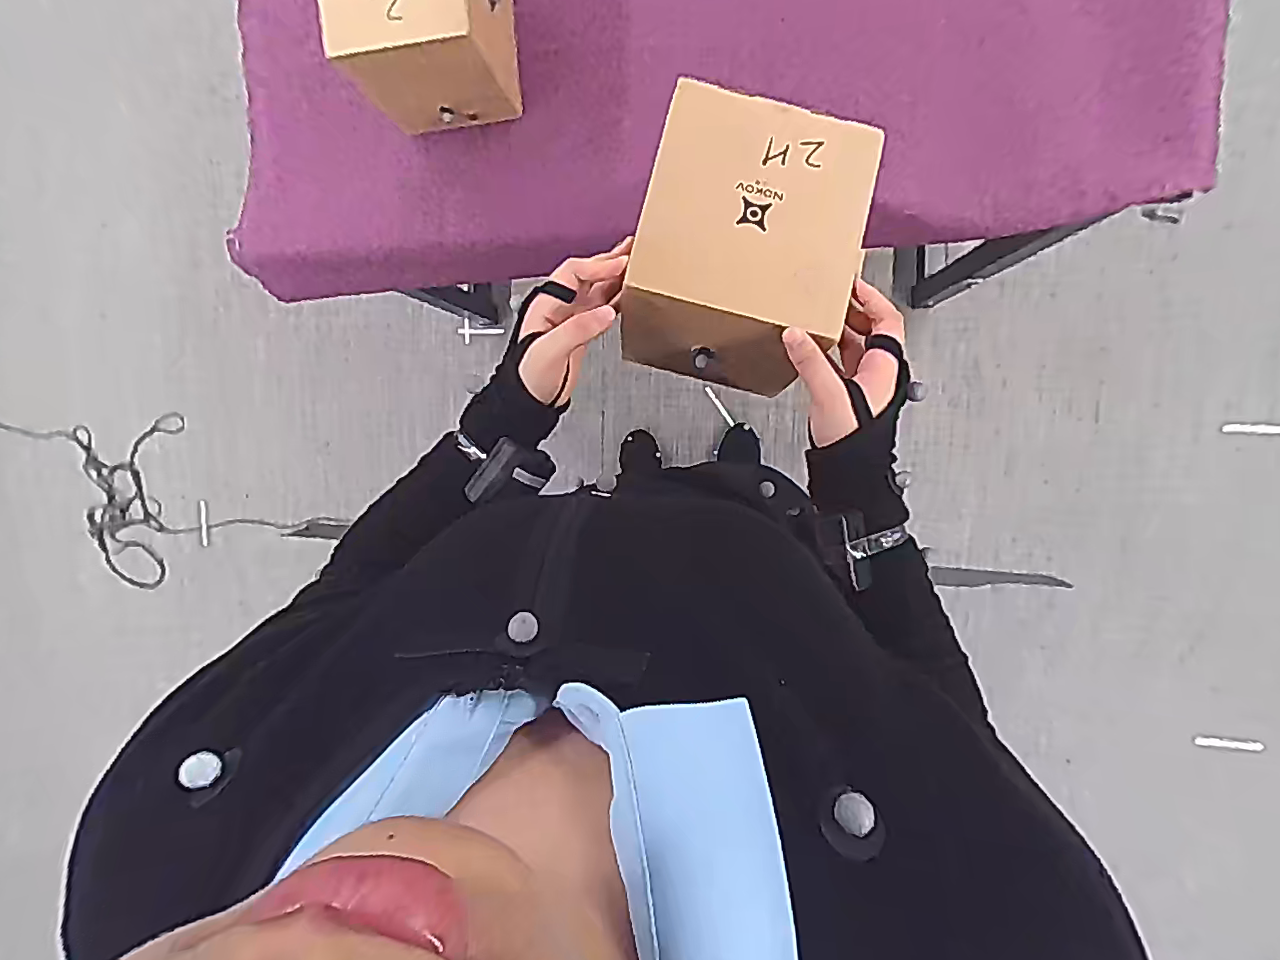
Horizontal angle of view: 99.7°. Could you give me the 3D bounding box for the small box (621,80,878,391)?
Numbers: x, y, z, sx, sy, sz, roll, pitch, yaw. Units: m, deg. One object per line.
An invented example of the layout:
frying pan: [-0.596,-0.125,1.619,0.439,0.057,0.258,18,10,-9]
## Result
small box: [0.083,-0.197,0.486,0.168,0.176,0.179,14,81,-1]

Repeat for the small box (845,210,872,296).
small box: [0.436,-0.538,1.302,0.168,0.176,0.179,10,97,6]
